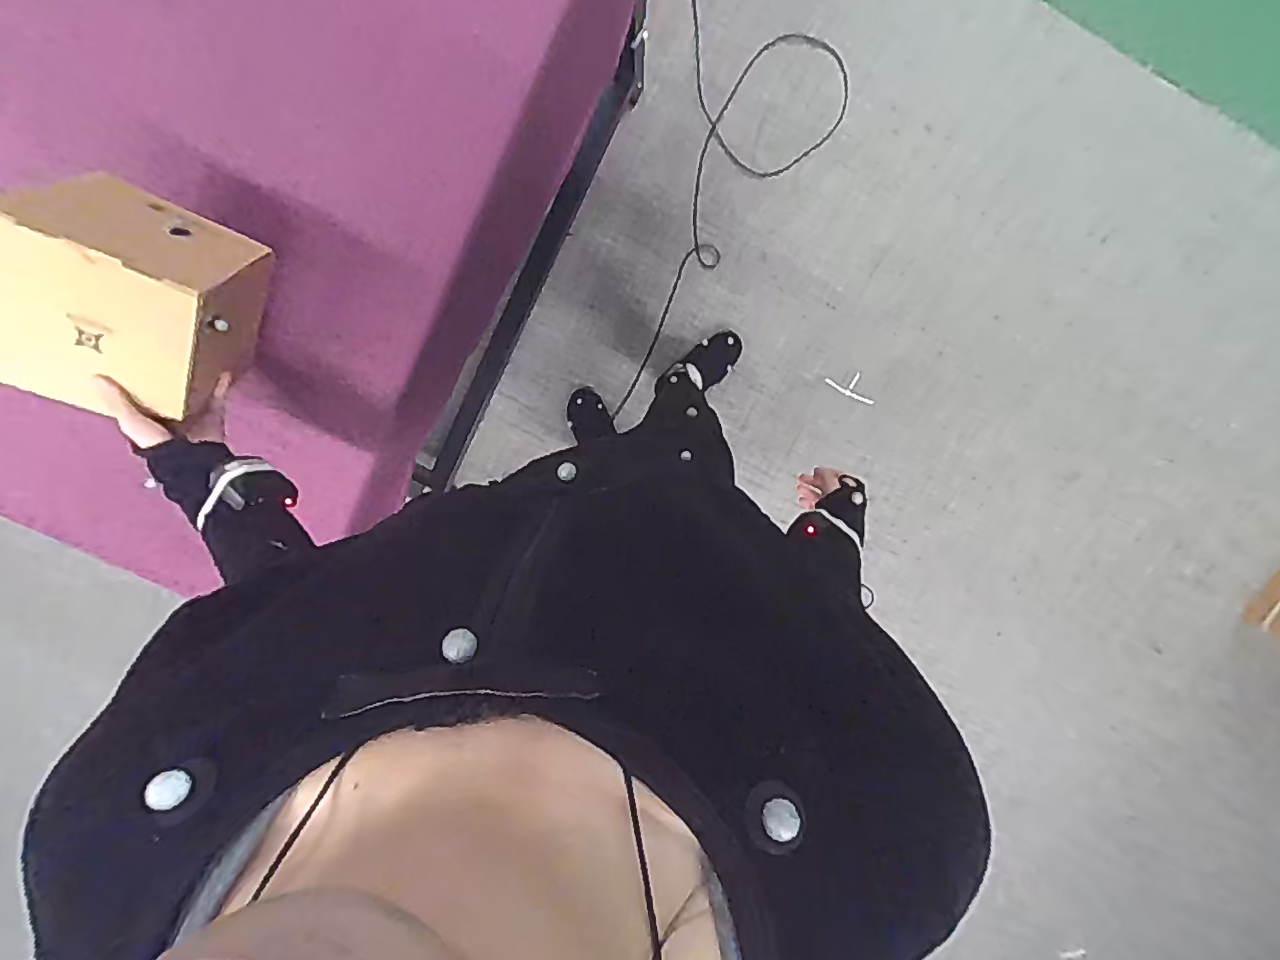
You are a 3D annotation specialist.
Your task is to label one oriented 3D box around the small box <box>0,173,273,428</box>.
[{"bbox_3d":[-0.526,-0.193,0.580,0.168,0.176,0.179,20,122,-22],"label":"small box"}]
